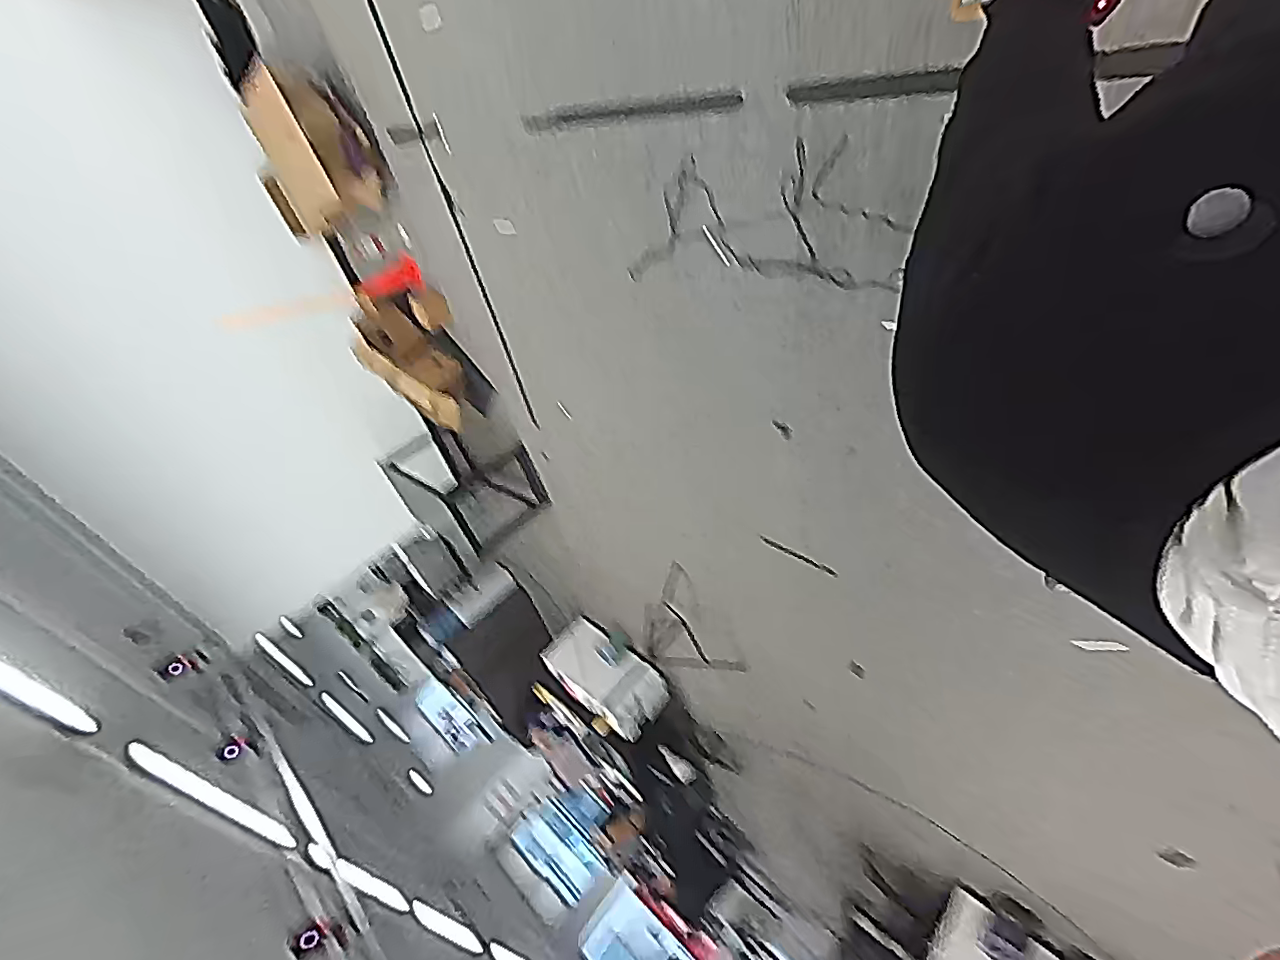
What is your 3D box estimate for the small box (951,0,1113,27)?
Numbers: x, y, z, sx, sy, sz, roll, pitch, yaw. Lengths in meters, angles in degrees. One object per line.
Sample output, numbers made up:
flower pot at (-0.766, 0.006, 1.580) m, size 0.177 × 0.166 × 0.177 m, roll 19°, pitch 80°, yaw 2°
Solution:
small box at (0.437, -0.617, 0.564) m, size 0.168 × 0.176 × 0.179 m, roll 16°, pitch 104°, yaw 27°
